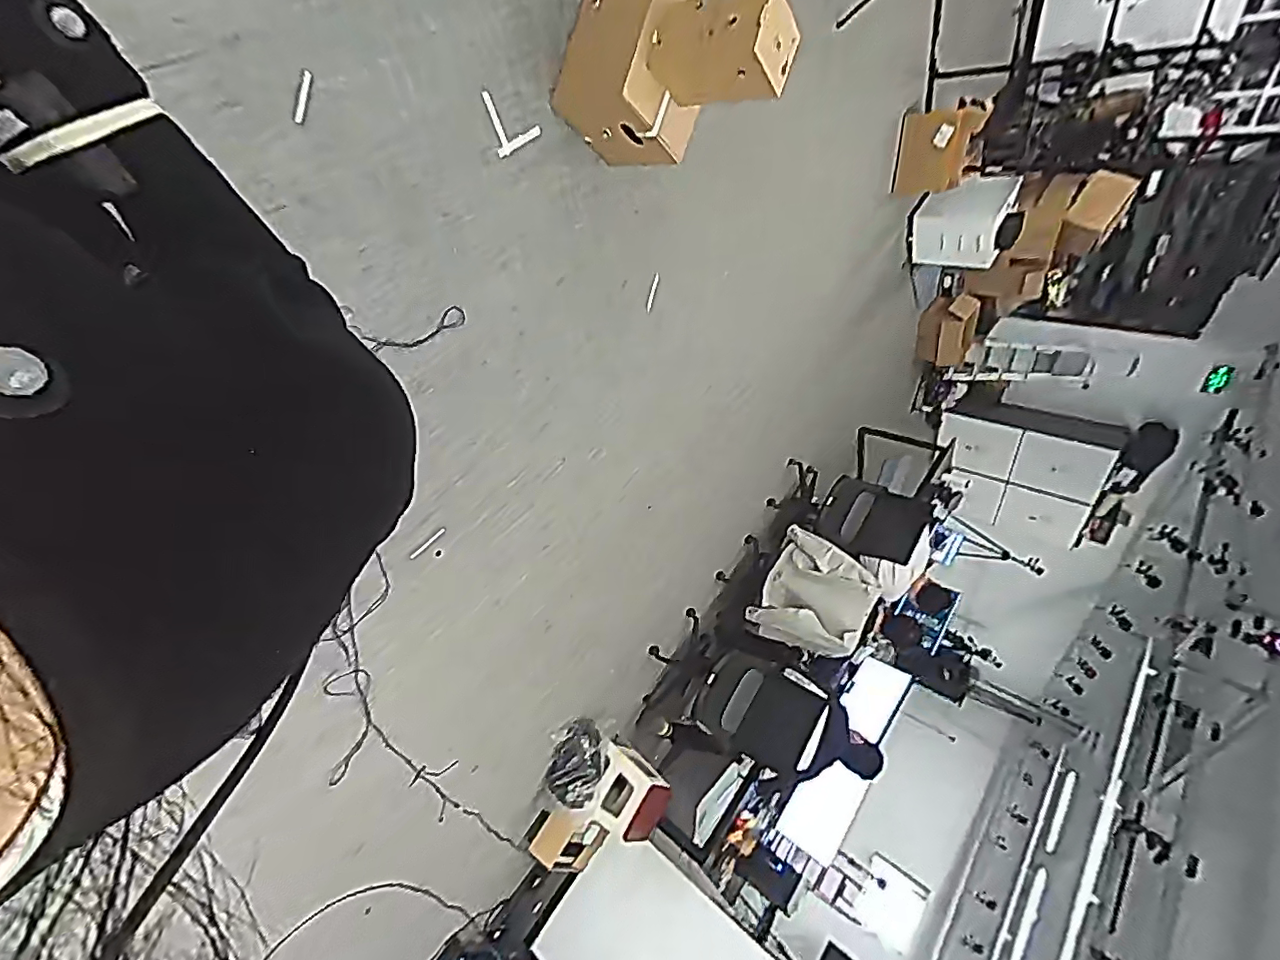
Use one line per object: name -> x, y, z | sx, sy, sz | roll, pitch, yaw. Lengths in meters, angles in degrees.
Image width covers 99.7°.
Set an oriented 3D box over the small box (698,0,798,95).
small box -> 0.275, -1.132, 1.396 | 0.179, 0.176, 0.168 | 11, 100, -53
